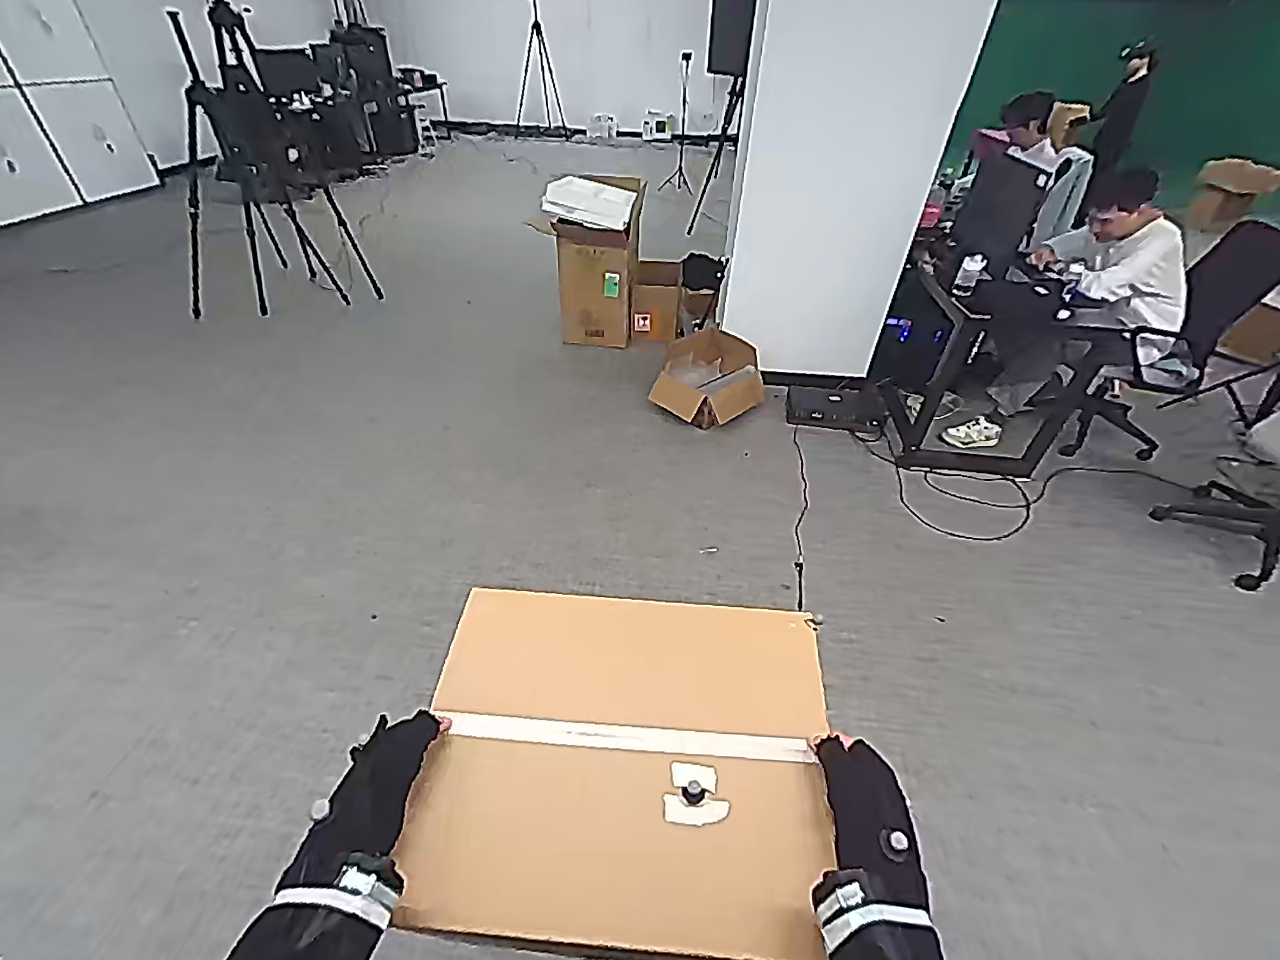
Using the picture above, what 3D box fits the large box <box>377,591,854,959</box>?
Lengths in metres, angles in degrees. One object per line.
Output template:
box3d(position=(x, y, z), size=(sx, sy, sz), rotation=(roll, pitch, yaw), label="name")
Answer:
box3d(position=(-0.018, 0.359, 0.650), size=(0.408, 0.320, 0.320), rotation=(4, 47, 2), label="large box")
